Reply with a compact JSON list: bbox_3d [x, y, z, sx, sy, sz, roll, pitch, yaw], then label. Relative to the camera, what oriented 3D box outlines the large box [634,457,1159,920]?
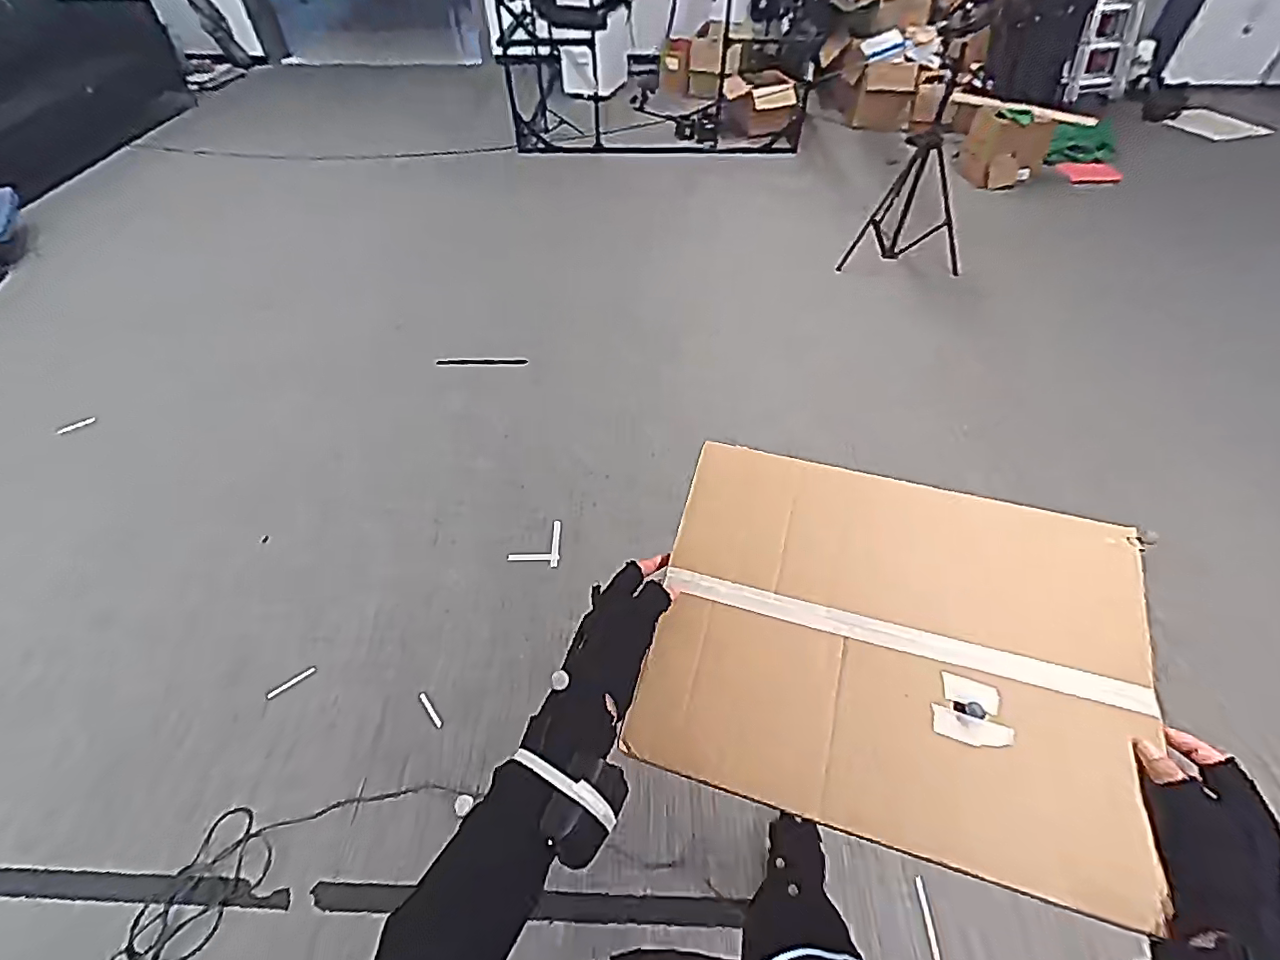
[{"bbox_3d":[0.235,0.213,0.619,0.408,0.320,0.320,13,65,12],"label":"large box"}]
